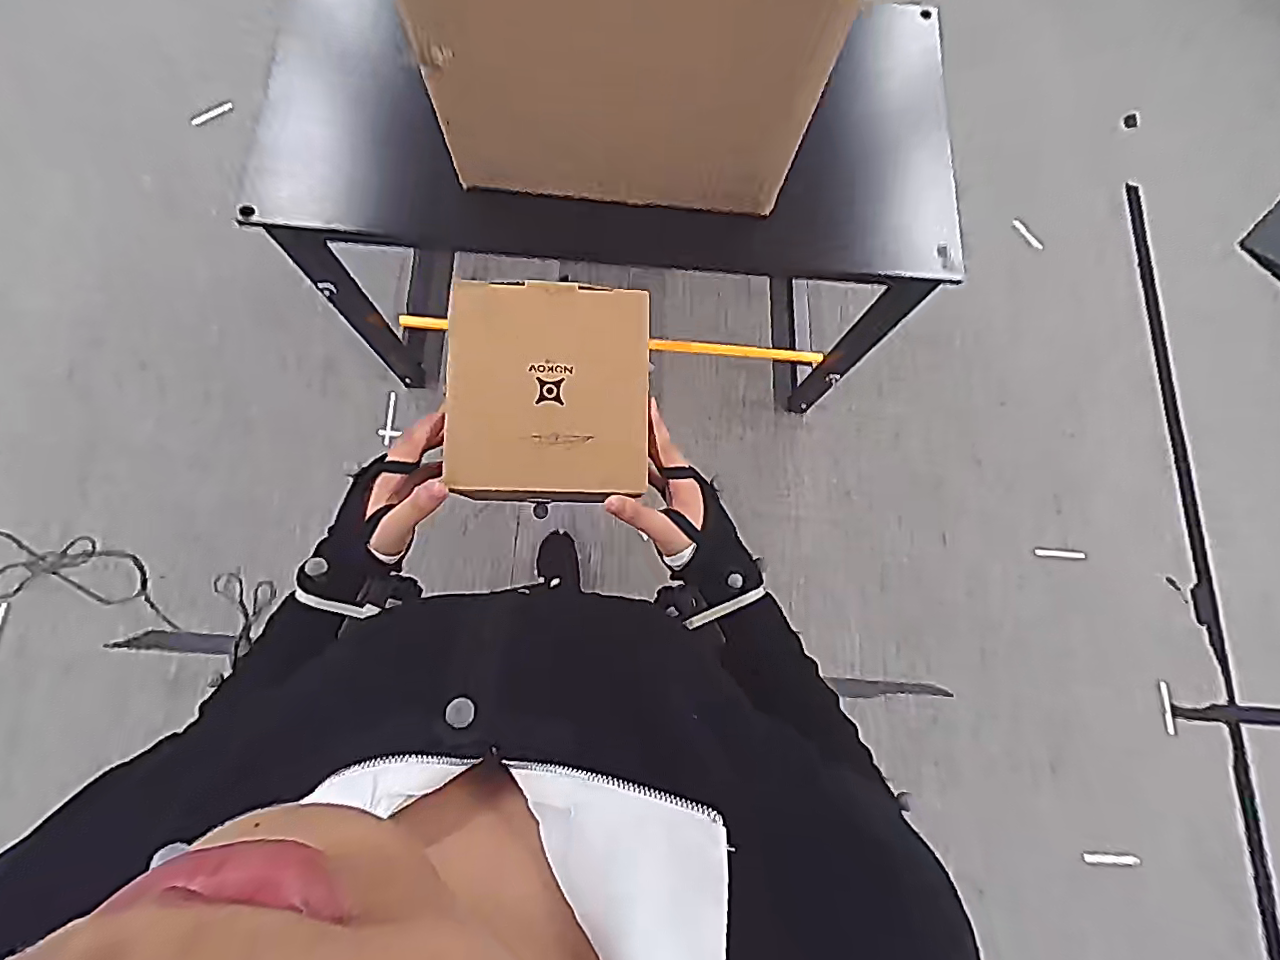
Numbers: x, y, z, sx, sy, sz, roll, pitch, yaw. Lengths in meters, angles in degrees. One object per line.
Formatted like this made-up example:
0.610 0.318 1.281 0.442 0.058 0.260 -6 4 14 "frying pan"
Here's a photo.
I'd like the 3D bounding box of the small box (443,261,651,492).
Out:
-0.083 -0.083 0.521 0.168 0.176 0.179 1 85 -6 "small box"
